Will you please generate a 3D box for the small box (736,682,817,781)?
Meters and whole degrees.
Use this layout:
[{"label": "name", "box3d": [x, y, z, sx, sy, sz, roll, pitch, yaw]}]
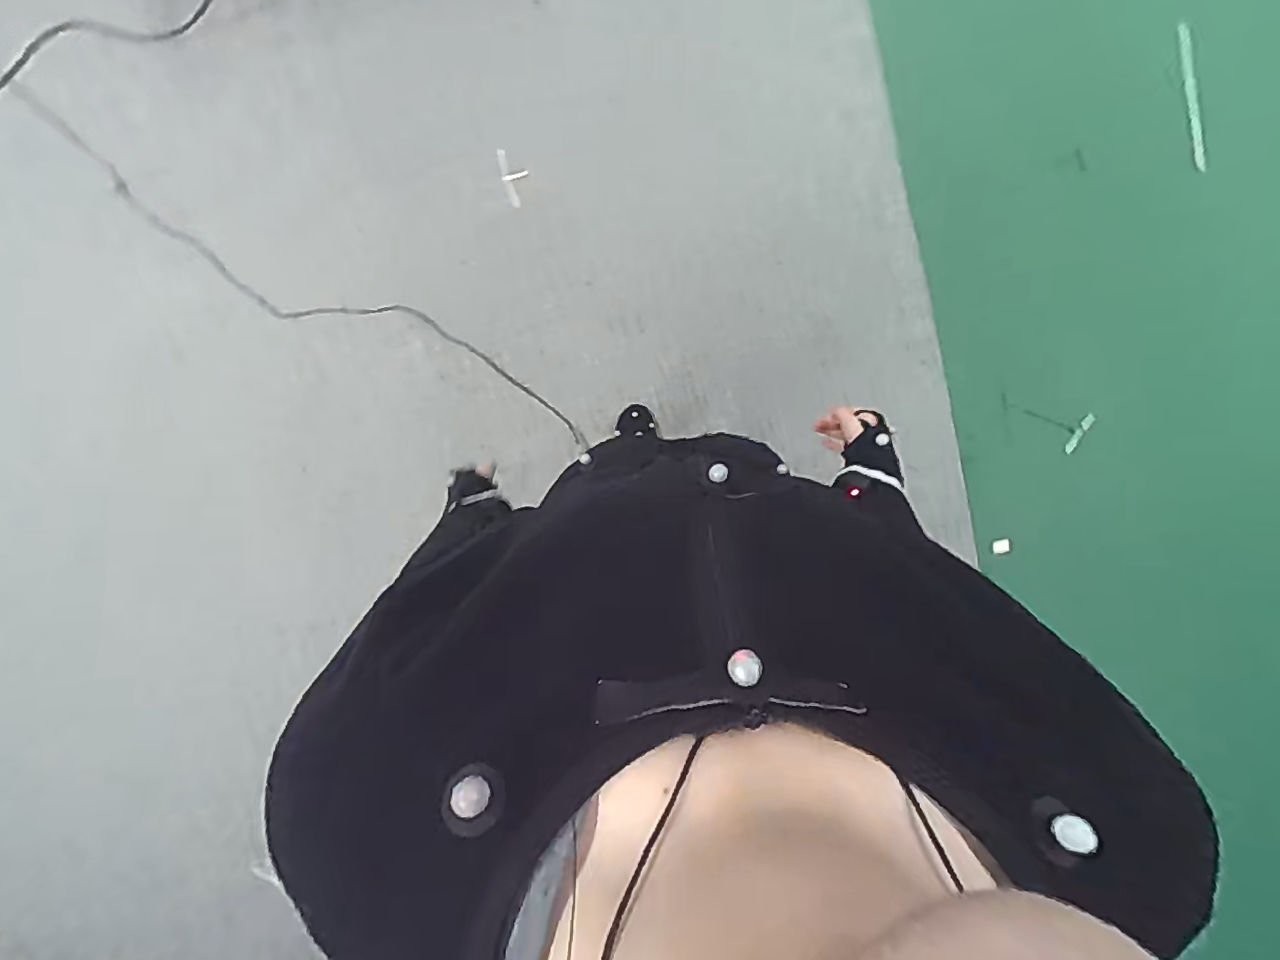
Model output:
[{"label": "small box", "box3d": [0.378, 0.698, 1.517, 0.179, 0.176, 0.168, -16, 98, 0]}]
